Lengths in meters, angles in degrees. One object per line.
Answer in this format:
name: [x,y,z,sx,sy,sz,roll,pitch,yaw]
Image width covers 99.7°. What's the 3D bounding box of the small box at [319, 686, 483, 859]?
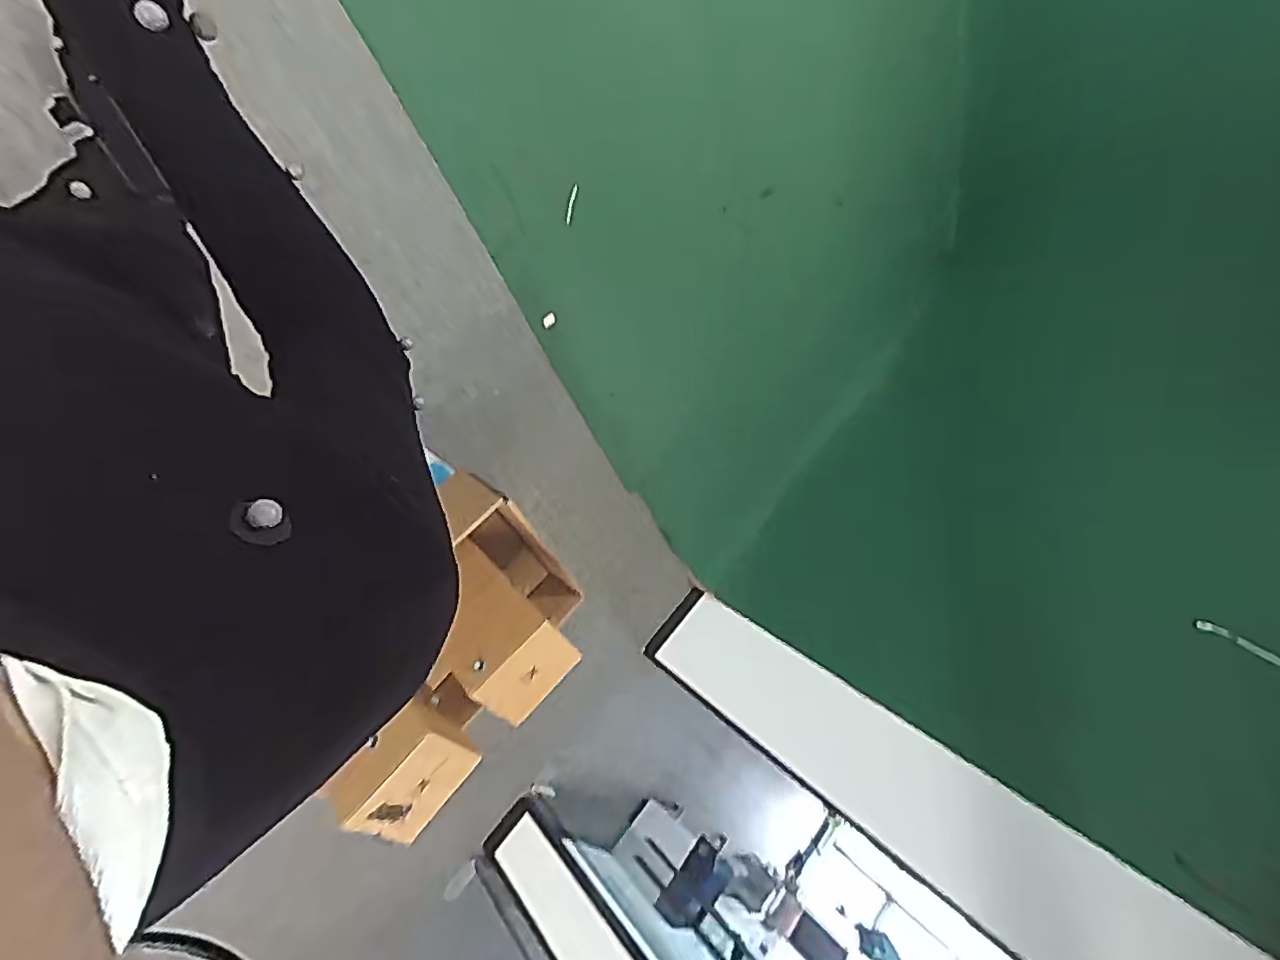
small box: [-0.414,0.496,0.928,0.179,0.176,0.168,-47,138,-19]
